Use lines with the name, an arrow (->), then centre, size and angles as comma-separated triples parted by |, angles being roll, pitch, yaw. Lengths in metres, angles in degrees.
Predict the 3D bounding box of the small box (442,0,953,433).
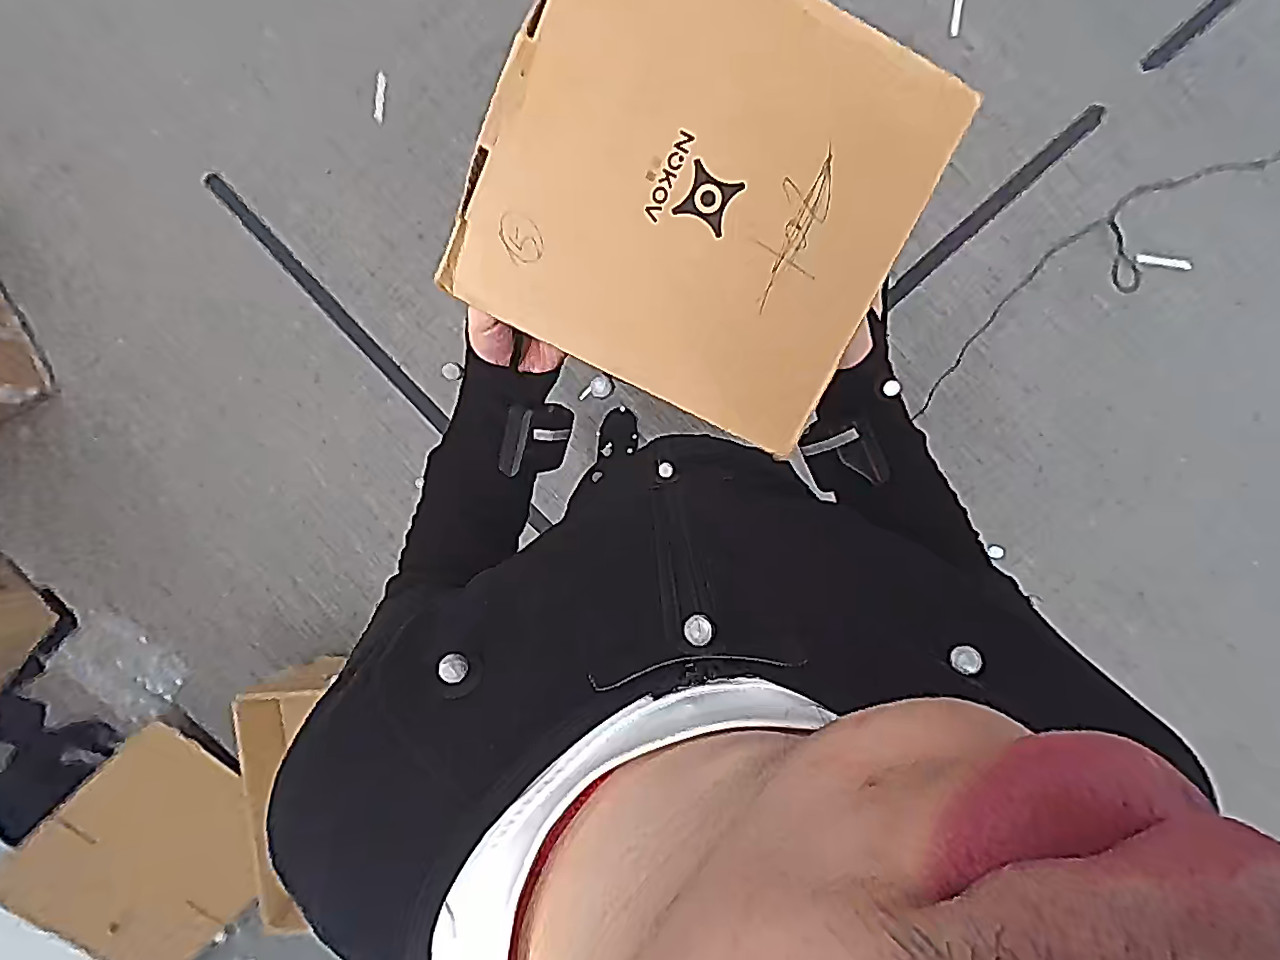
small box -> 0.021, -0.144, 0.313 | 0.179, 0.176, 0.168 | 24, 102, -7
